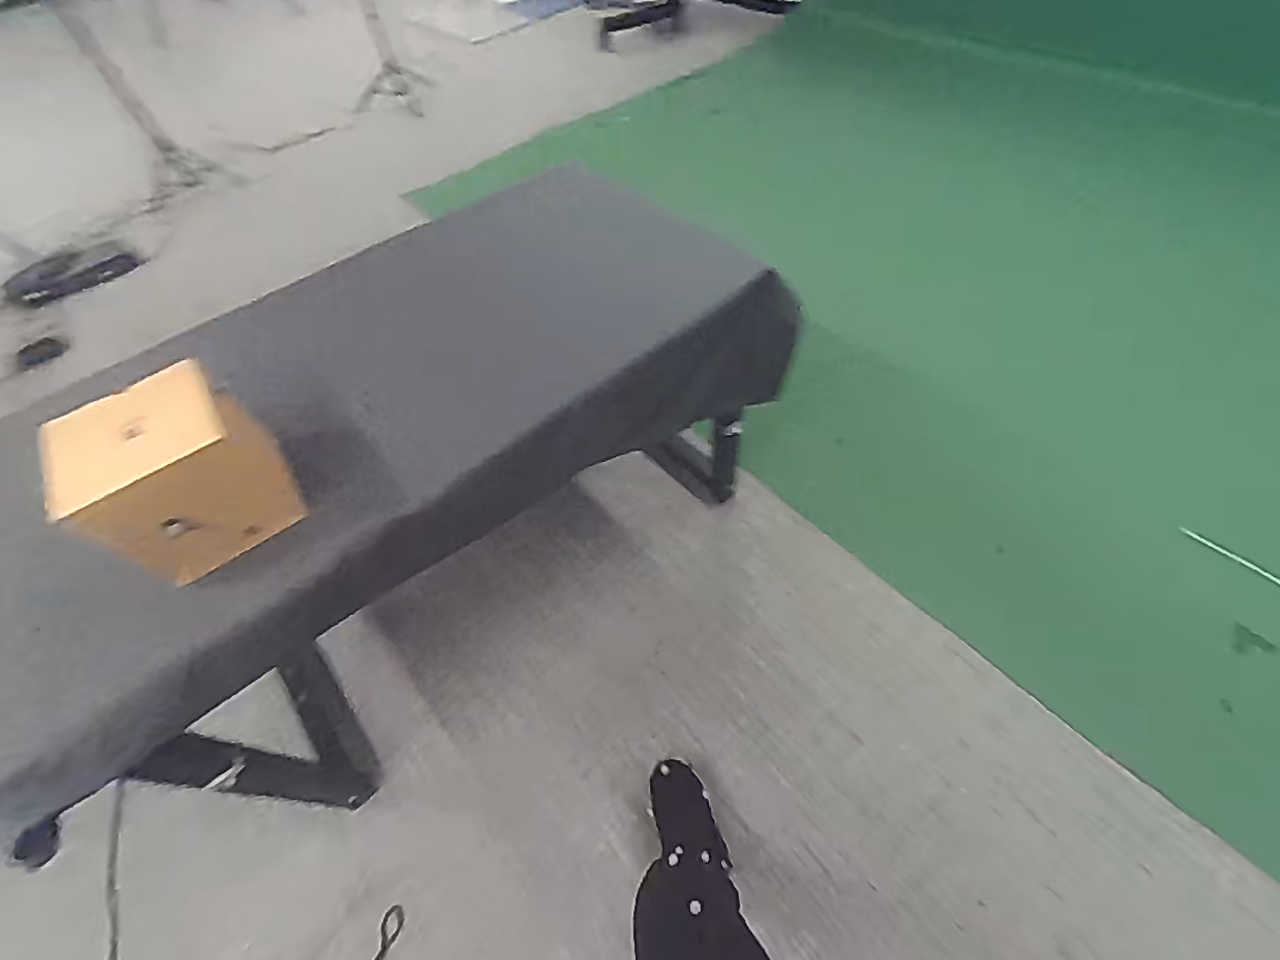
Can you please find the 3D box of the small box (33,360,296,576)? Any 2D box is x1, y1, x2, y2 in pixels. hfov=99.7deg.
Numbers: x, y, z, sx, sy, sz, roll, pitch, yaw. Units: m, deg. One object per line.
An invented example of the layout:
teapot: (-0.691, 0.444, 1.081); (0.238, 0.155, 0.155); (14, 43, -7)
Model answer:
small box: (-0.565, -0.006, 0.661); (0.168, 0.176, 0.179); (-35, 58, -18)
